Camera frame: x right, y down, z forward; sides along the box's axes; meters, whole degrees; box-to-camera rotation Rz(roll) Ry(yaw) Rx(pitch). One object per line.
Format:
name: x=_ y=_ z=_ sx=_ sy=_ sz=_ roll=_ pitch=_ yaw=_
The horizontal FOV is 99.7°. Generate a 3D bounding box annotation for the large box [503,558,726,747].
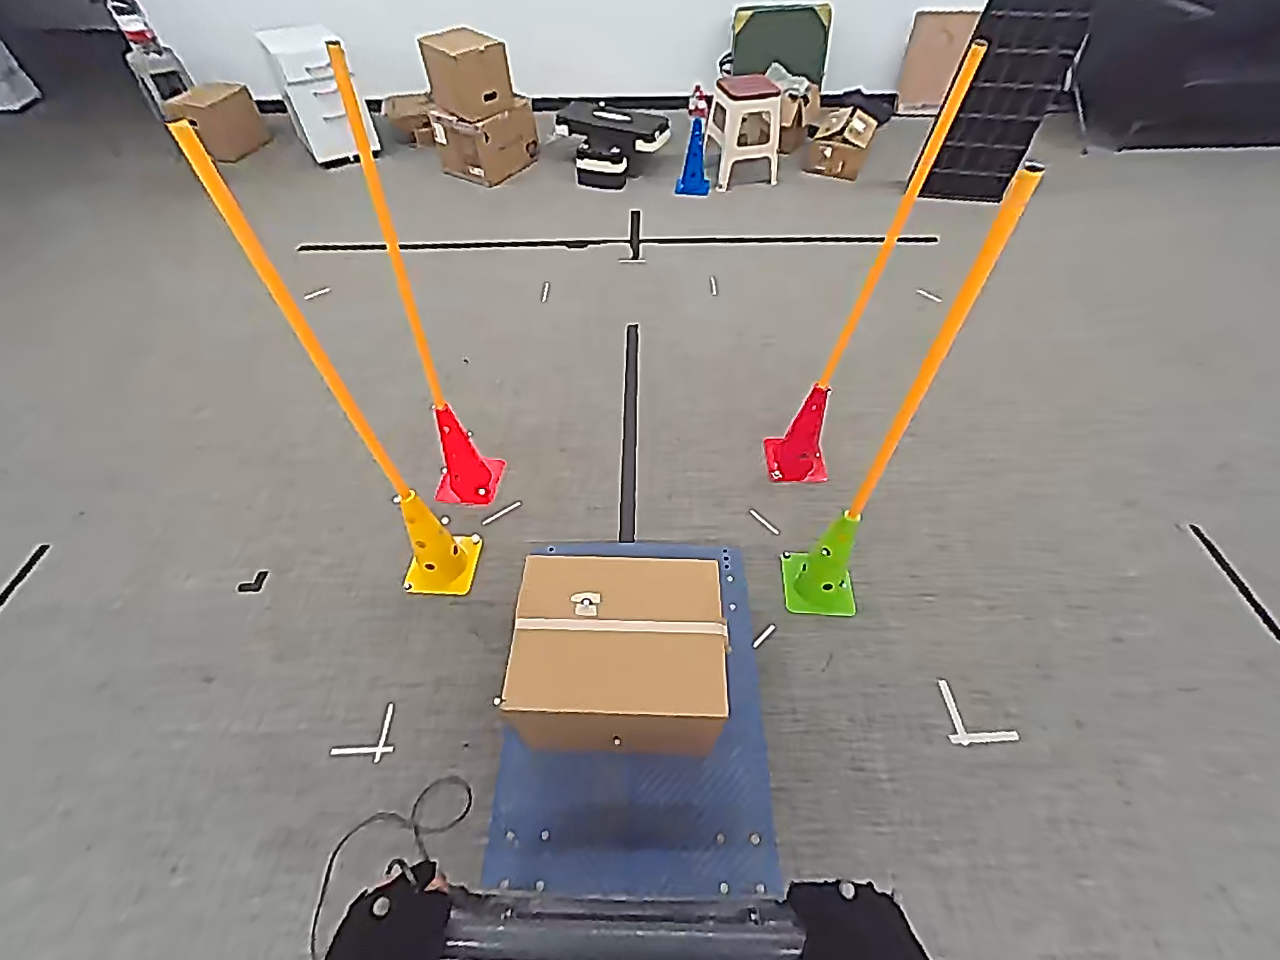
large box: x=-0.039 y=0.377 z=1.164 sx=0.408 sy=0.320 sz=0.320 roll=1 pitch=52 yaw=2

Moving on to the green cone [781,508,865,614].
green cone: x=0.533 y=0.198 z=1.487 sx=0.202 sy=0.368 sz=0.200 roll=4 pitch=52 yaw=1

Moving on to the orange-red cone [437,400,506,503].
orange-red cone: x=-0.576 y=-0.116 z=1.735 sx=0.198 sy=0.360 sz=0.199 roll=7 pitch=51 yaw=4

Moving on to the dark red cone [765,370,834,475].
dark red cone: x=0.555 y=-0.195 z=1.772 sx=0.201 sy=0.394 sz=0.202 roll=1 pitch=52 yaw=-1
